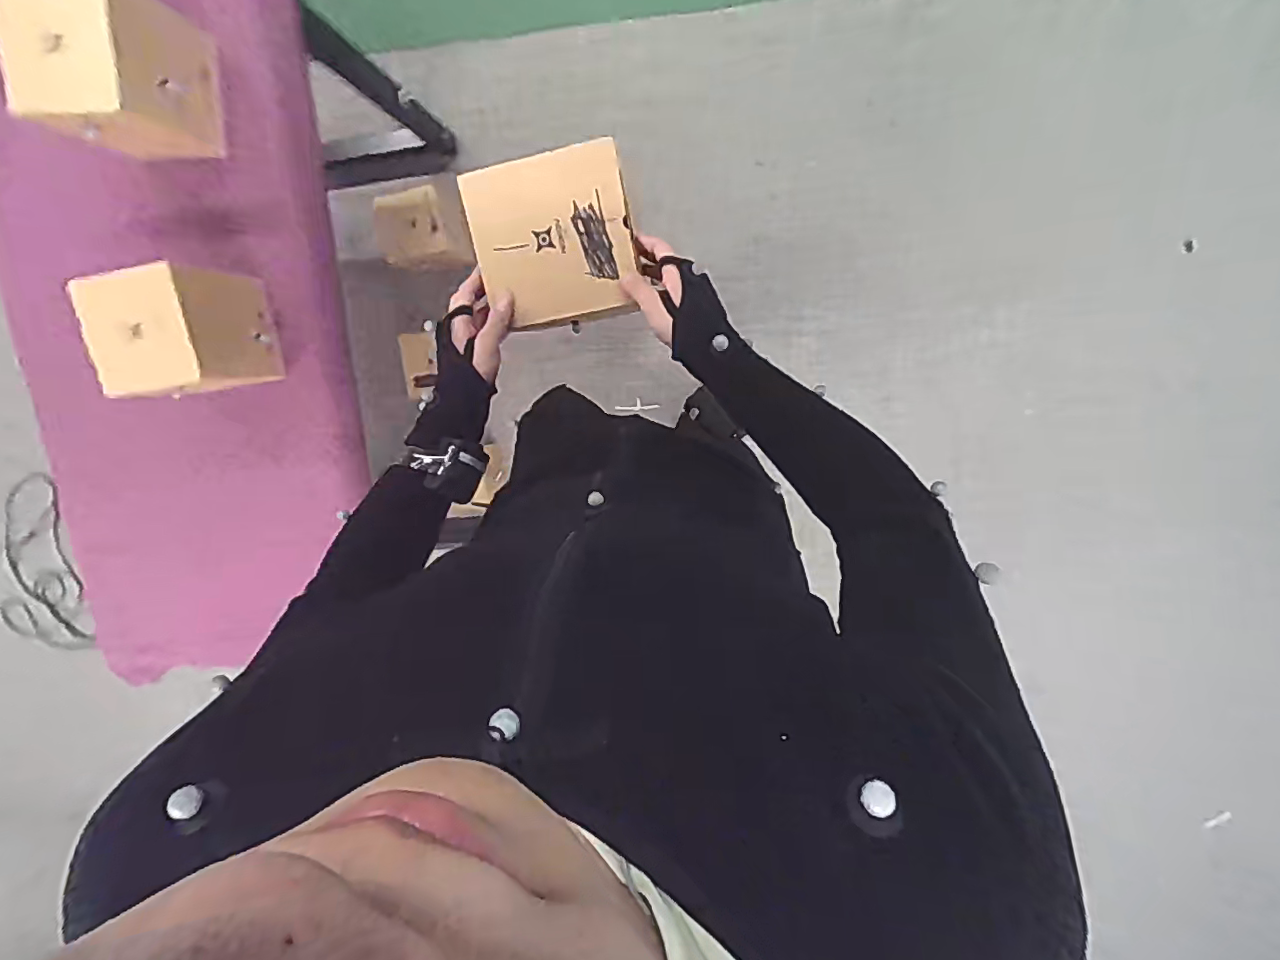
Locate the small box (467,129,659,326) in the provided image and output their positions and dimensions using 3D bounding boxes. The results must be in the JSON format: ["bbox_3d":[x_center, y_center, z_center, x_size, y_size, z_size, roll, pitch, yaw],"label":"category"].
[{"bbox_3d":[-0.073,-0.281,0.638,0.179,0.176,0.168,-8,105,9],"label":"small box"}]

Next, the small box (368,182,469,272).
[{"bbox_3d":[-0.595,-0.678,1.469,0.179,0.176,0.168,-9,100,9],"label":"small box"}]

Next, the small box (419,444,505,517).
[{"bbox_3d":[-0.516,-0.004,1.603,0.179,0.176,0.168,-11,100,9],"label":"small box"}]

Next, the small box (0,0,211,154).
[{"bbox_3d":[-0.750,-0.580,0.763,0.179,0.176,0.168,4,103,8],"label":"small box"}]

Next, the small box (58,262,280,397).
[{"bbox_3d":[-0.709,-0.223,0.834,0.179,0.176,0.168,-6,102,9],"label":"small box"}]
